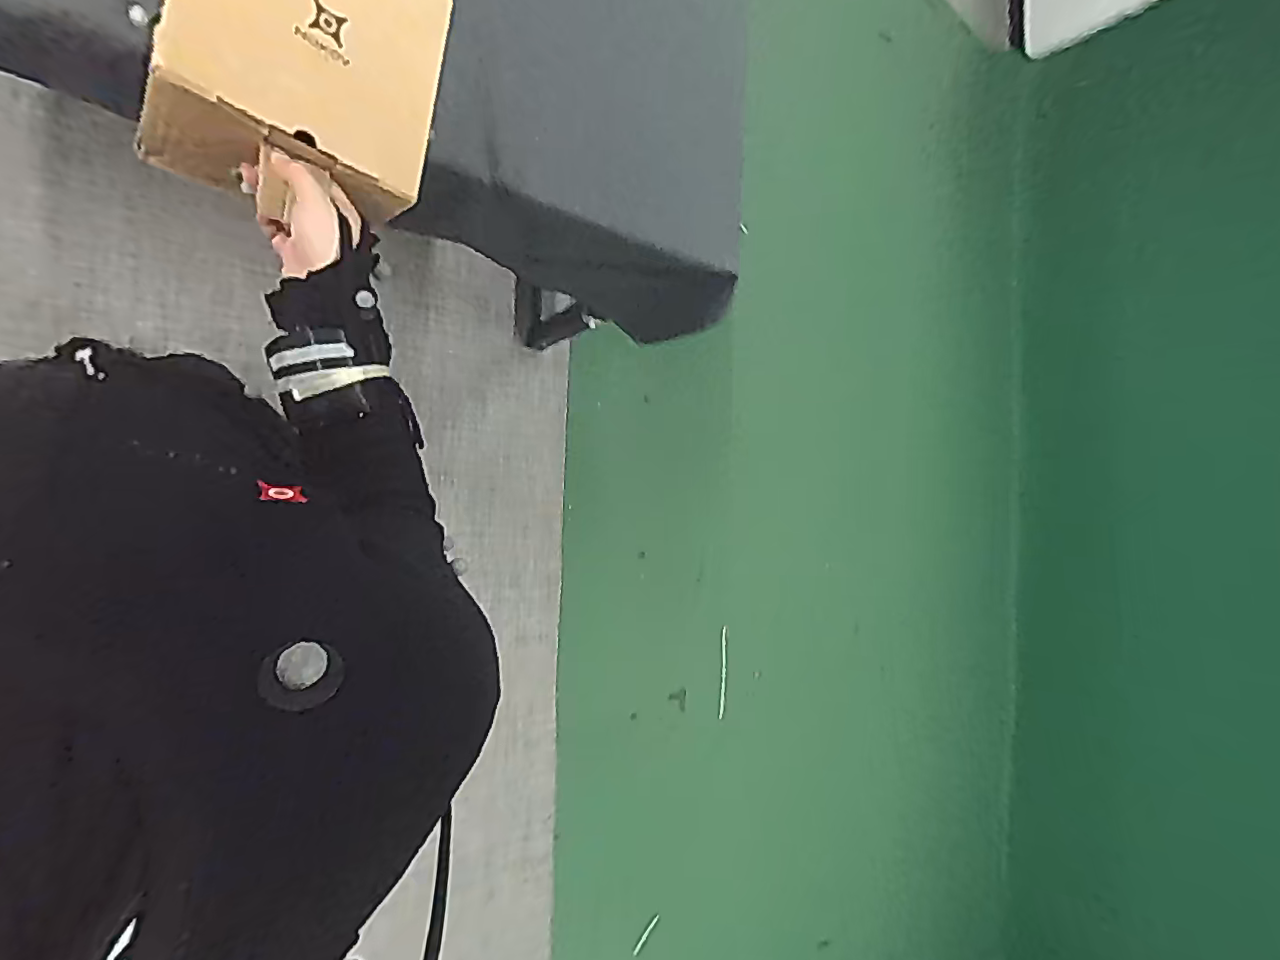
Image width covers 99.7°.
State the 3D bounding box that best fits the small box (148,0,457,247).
[{"bbox_3d":[-0.280,-0.323,0.448,0.168,0.176,0.179,12,88,-47],"label":"small box"}]
